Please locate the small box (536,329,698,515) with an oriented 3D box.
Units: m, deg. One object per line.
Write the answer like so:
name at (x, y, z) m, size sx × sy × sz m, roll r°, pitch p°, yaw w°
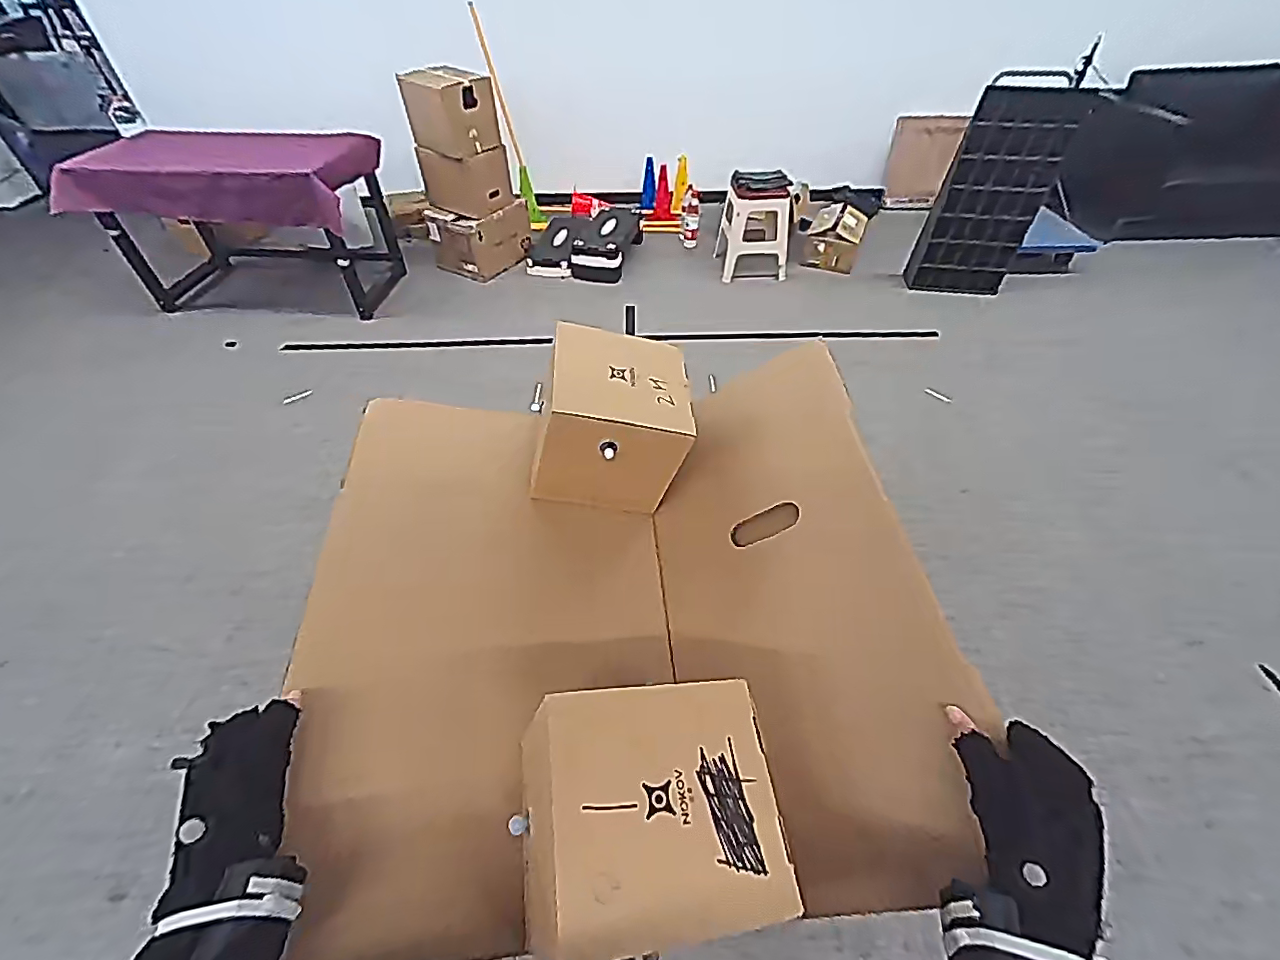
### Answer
small box at (-0.038, -0.070, 0.727) m, size 0.179 × 0.176 × 0.168 m, roll 10°, pitch 51°, yaw -15°
